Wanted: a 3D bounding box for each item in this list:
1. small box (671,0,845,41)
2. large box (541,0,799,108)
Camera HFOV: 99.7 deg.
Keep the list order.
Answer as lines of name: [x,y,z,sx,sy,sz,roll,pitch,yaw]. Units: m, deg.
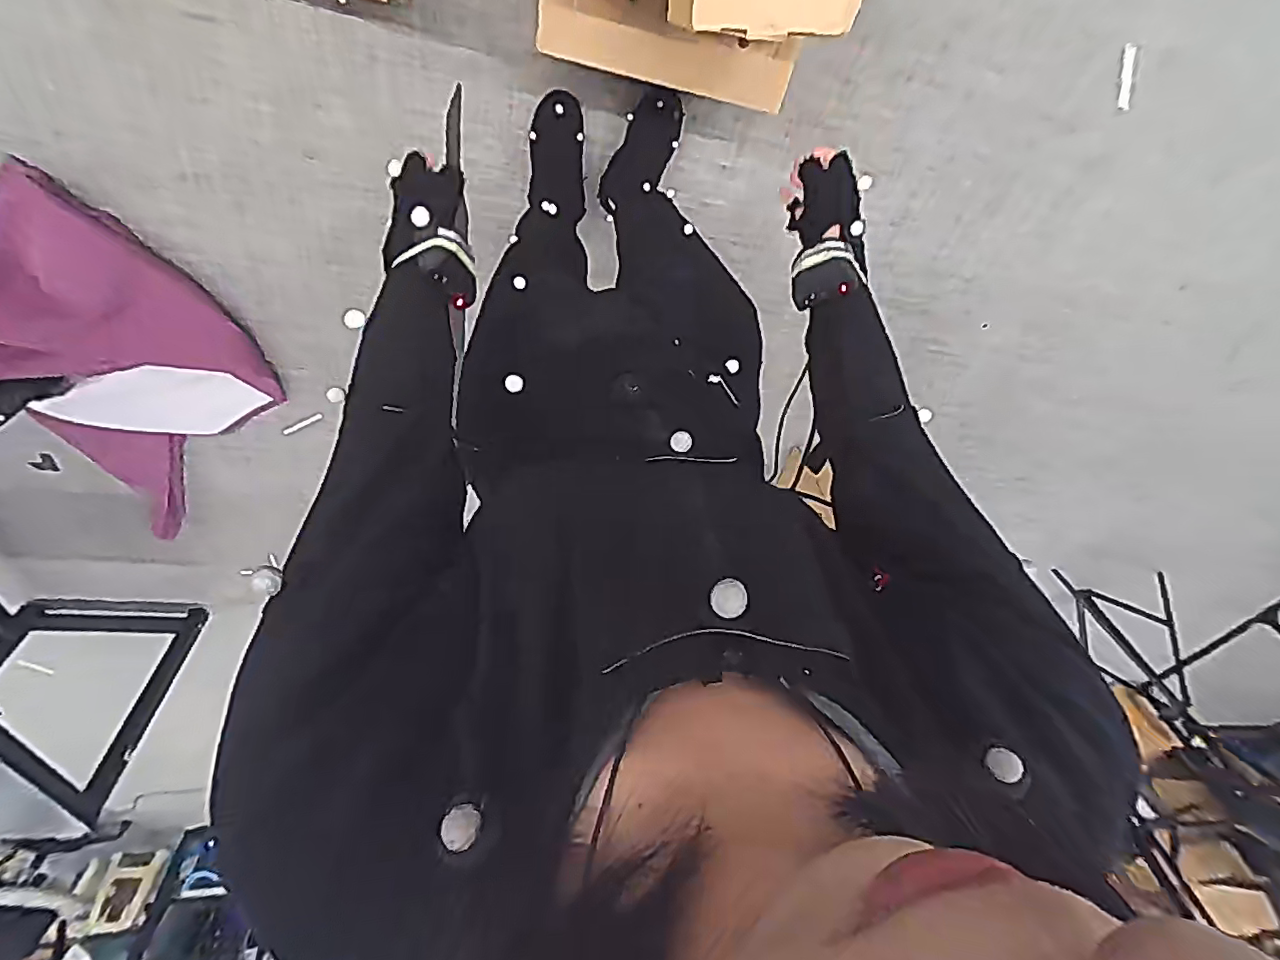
small box: [0.127,-0.588,0.572,0.168,0.176,0.179,-2,133,-6]
large box: [0.050,-0.846,0.877,0.408,0.320,0.320,4,132,-13]
